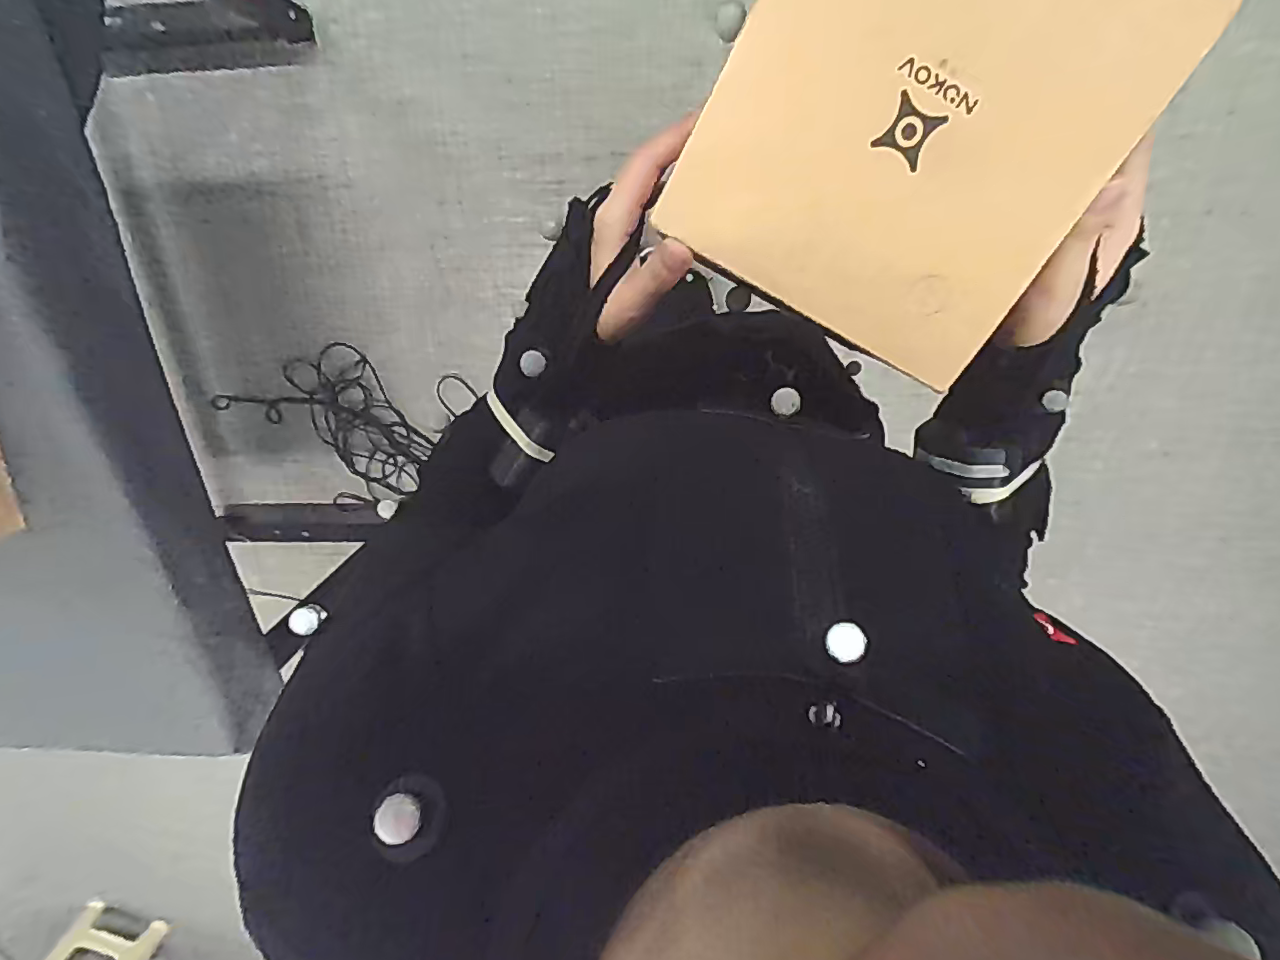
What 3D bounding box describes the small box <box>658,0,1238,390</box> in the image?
[{"bbox_3d":[0.127,-0.176,0.304,0.168,0.176,0.179,28,109,-4],"label":"small box"}]
